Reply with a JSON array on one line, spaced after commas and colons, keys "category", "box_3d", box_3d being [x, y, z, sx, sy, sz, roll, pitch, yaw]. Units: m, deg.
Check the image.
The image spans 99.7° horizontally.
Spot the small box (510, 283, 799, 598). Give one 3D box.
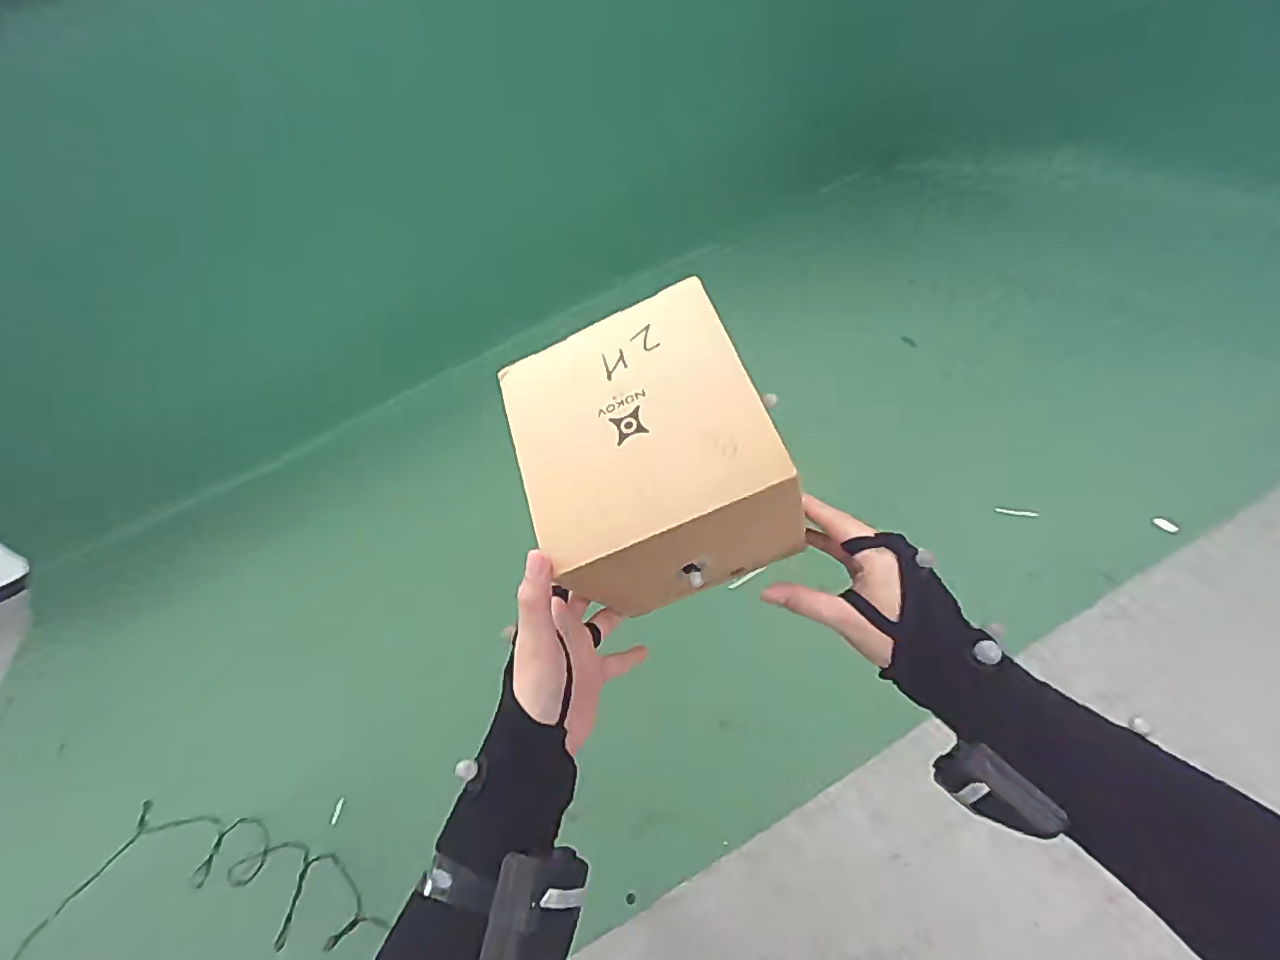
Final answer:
[{"category": "small box", "box_3d": [0.020, -0.013, 0.440, 0.168, 0.176, 0.179, -22, 63, 8]}]
